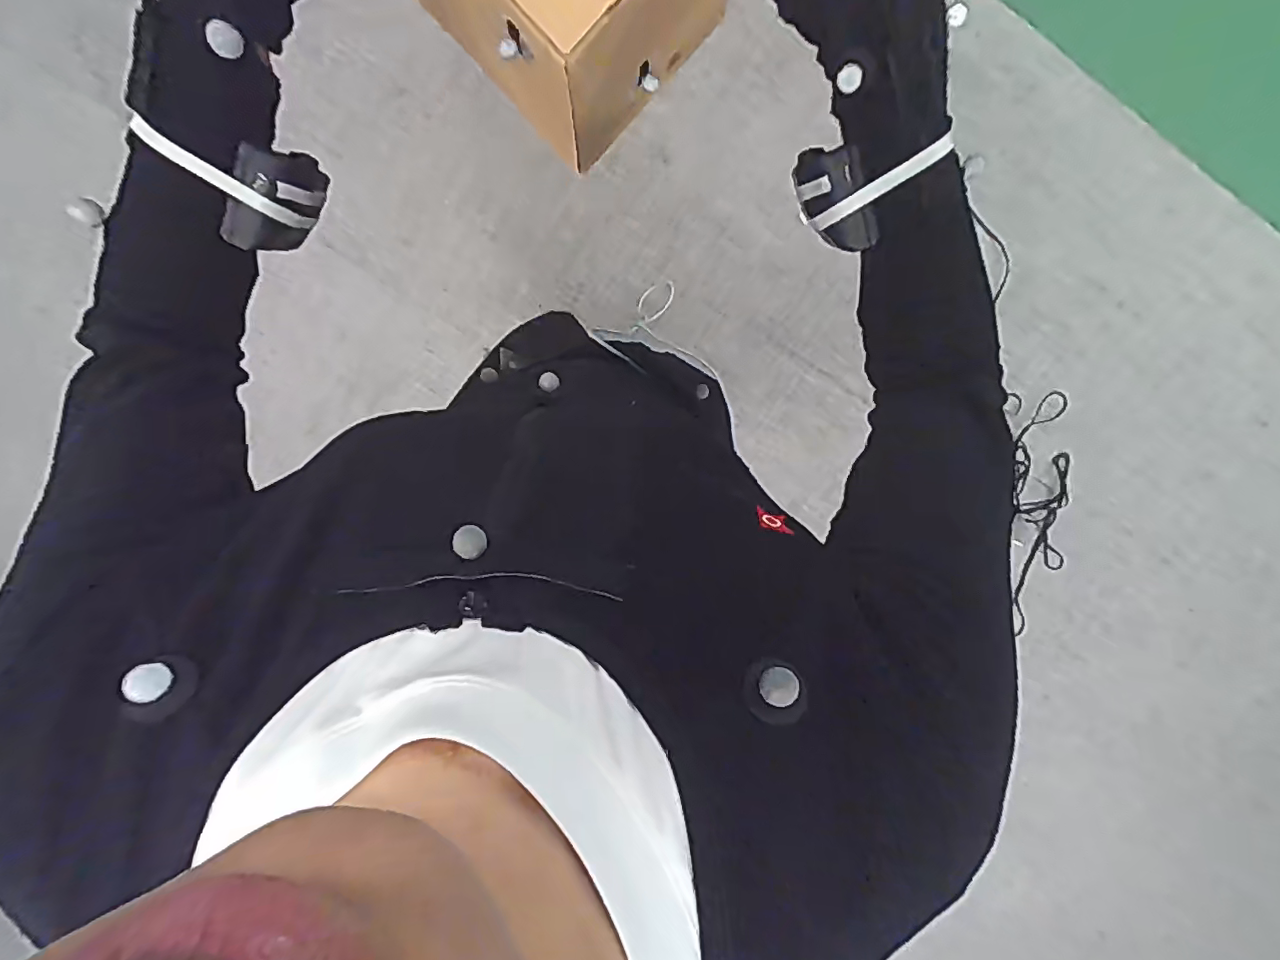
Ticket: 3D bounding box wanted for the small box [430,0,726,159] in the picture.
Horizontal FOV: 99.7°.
[{"bbox_3d":[-0.046,-0.356,0.349,0.168,0.176,0.179,-45,102,6],"label":"small box"}]
